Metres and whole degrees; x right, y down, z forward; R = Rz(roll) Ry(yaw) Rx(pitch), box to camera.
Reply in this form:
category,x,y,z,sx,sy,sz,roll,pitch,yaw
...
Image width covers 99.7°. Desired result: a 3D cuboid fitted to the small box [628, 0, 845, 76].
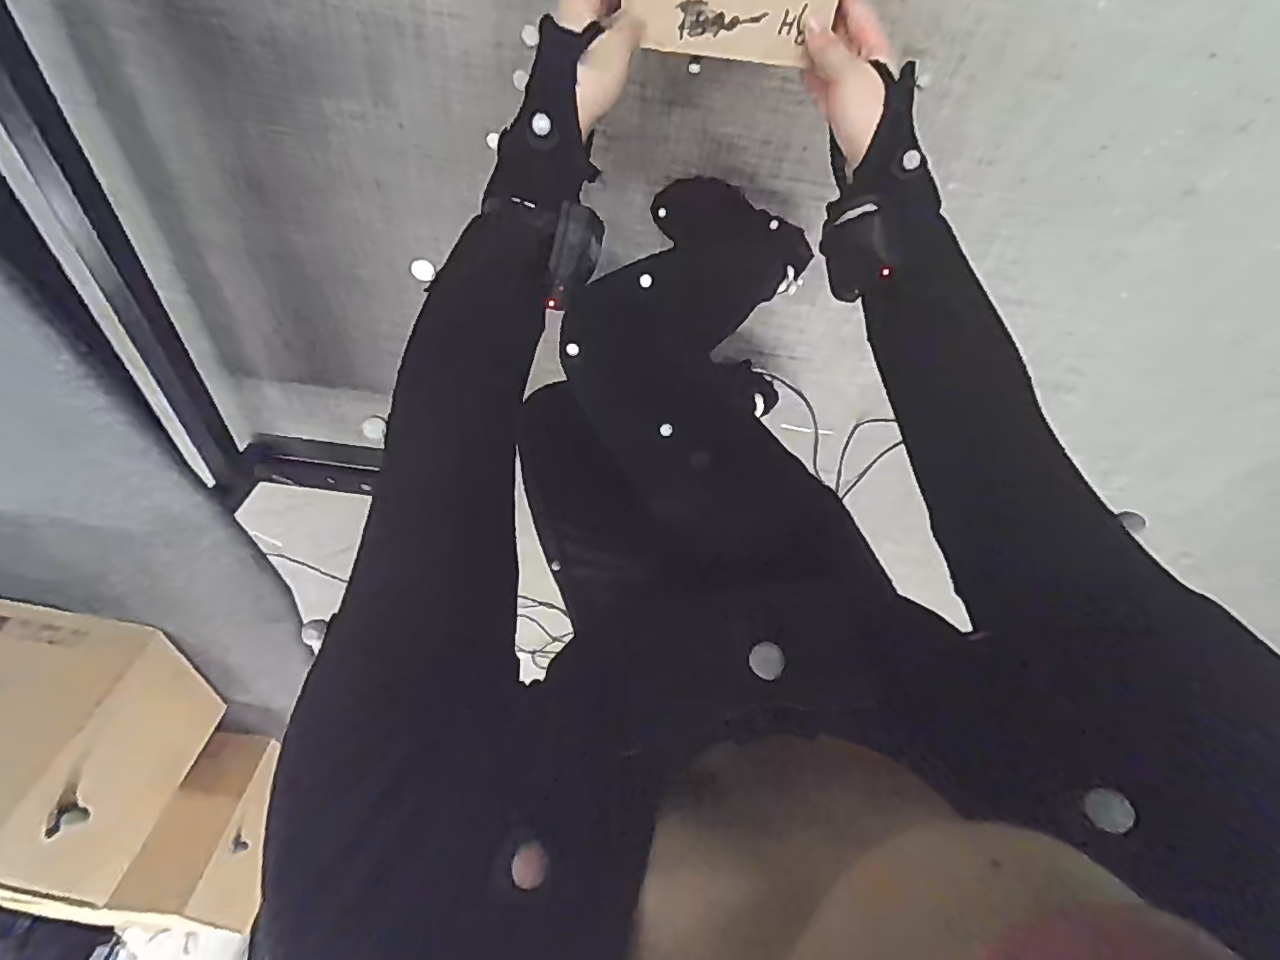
category,x,y,z,sx,sy,sz,roll,pitch,yaw
small box,0.080,-0.455,0.436,0.168,0.176,0.179,5,134,-3

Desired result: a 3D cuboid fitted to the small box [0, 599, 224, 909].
category,x,y,z,sx,sy,sz,roll,pitch,yaw
small box,-0.484,0.213,0.427,0.168,0.176,0.179,13,136,-5
